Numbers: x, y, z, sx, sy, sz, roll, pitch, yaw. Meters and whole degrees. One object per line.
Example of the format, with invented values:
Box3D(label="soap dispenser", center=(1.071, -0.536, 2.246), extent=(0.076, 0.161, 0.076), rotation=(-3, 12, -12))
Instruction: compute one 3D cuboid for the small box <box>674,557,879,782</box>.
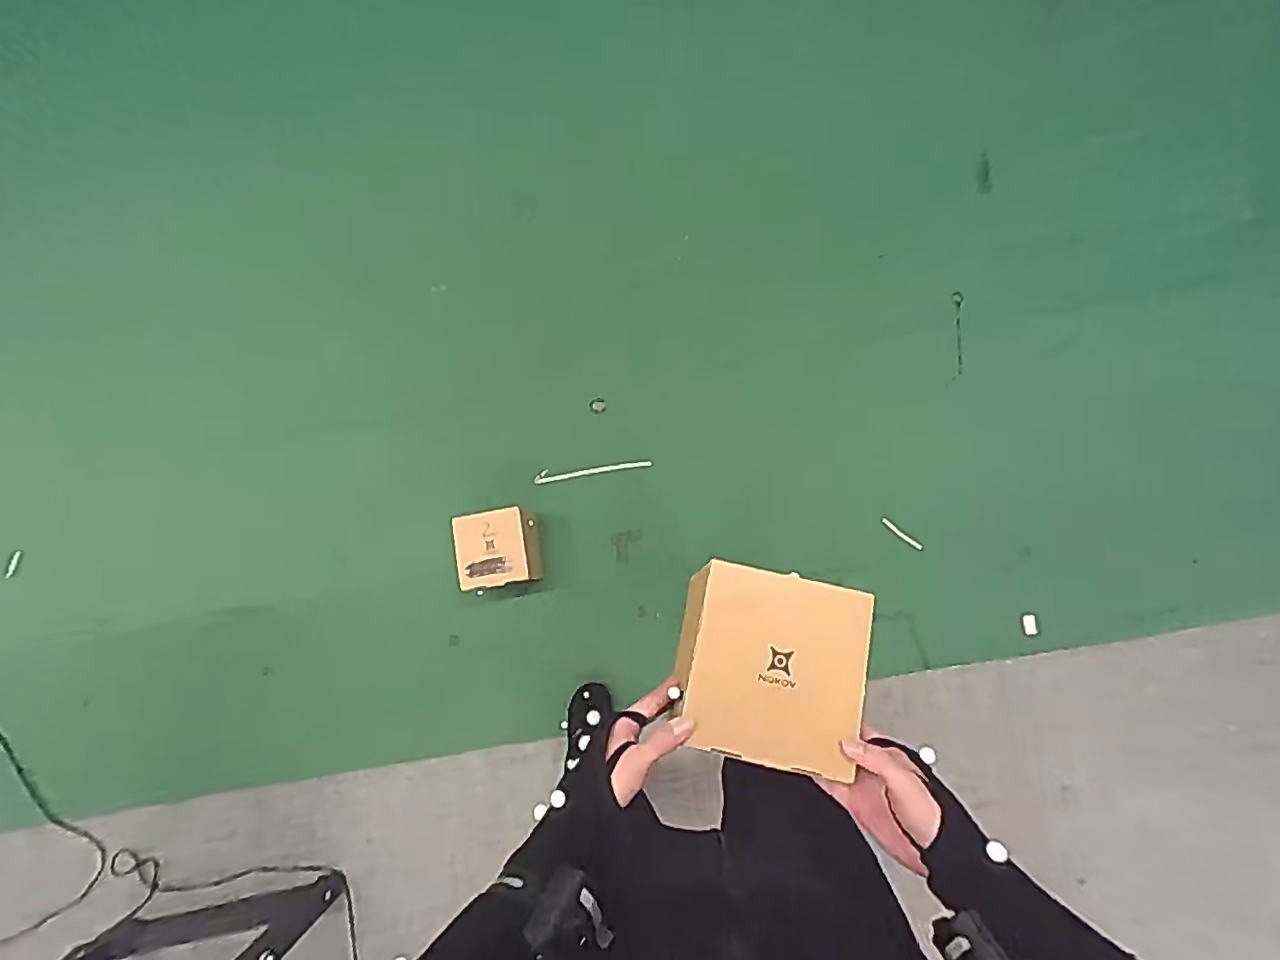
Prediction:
Box3D(label="small box", center=(0.135, 0.193, 0.587), extent=(0.168, 0.176, 0.179), rotation=(12, 76, 2))
